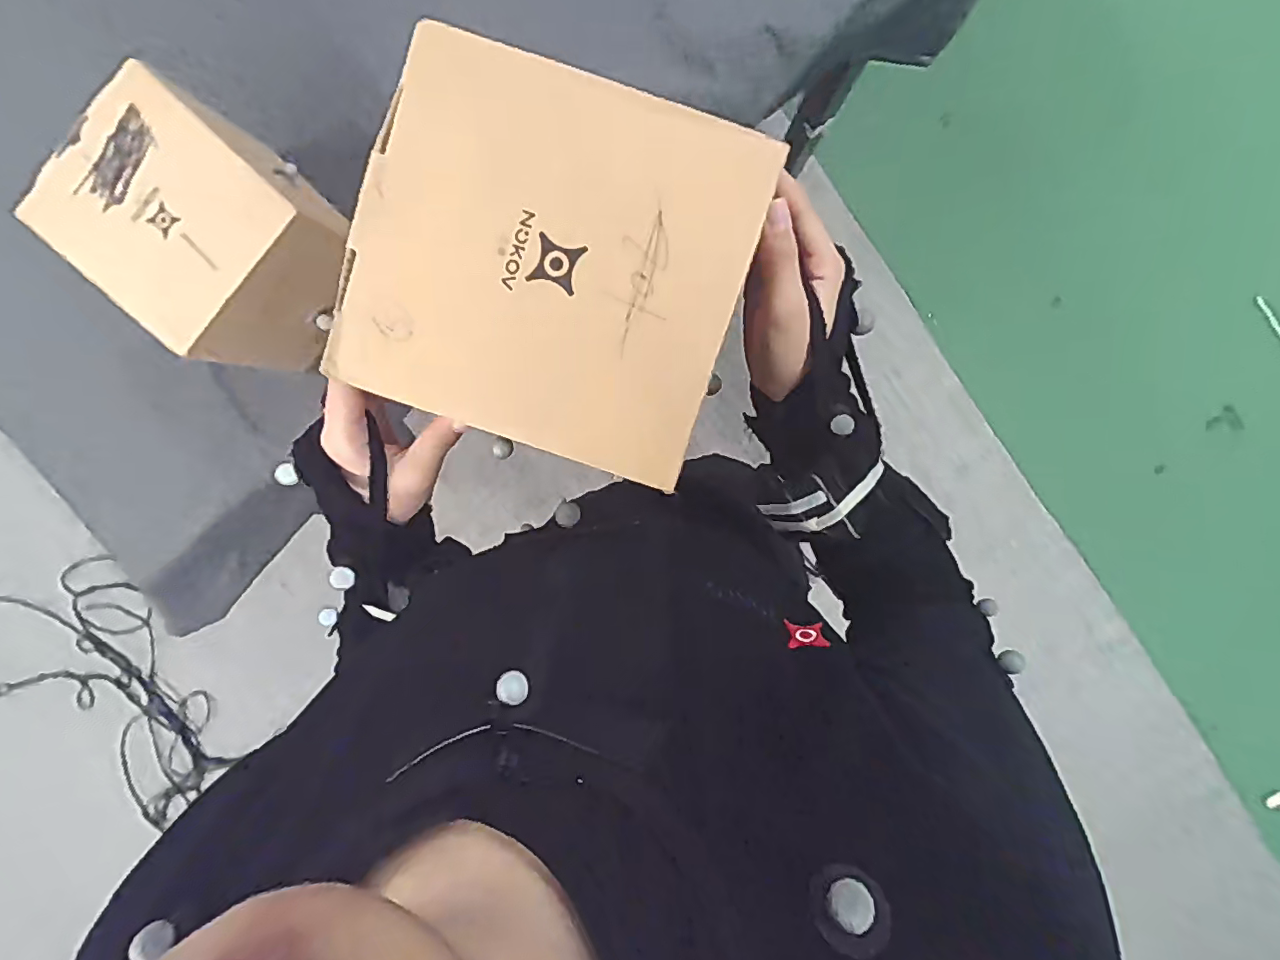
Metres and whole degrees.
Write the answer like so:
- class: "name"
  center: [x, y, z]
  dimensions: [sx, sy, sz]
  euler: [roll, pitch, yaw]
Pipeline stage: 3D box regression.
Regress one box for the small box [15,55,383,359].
- class: "small box"
  center: [-0.397, -0.234, 0.522]
  dimensions: [0.179, 0.176, 0.168]
  euler: [43, 97, -5]
